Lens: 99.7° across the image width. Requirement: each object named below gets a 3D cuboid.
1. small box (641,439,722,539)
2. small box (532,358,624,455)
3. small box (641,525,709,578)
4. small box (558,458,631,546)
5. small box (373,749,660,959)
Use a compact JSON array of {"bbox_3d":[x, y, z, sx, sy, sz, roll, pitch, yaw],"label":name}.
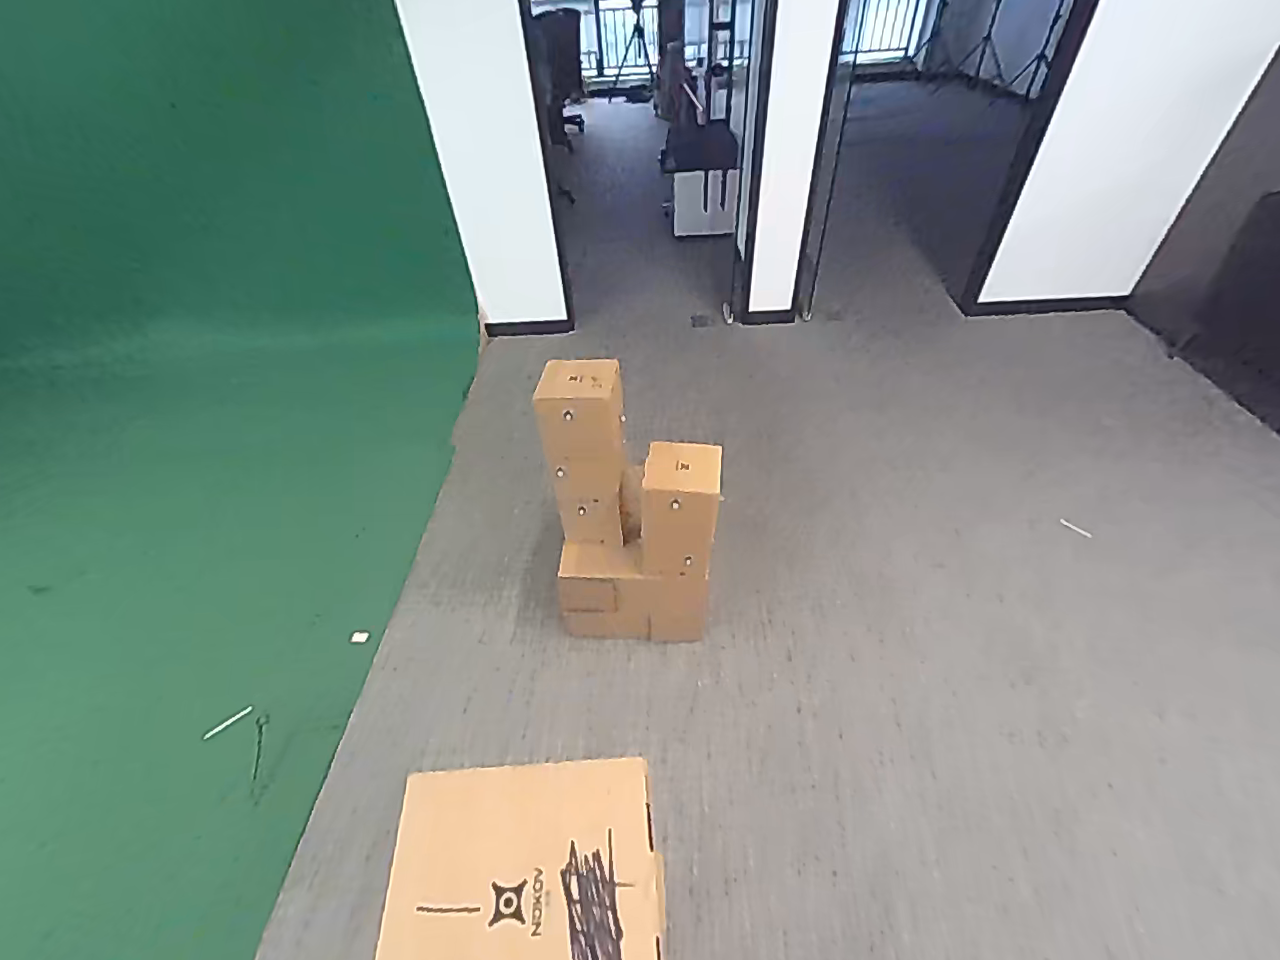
[{"bbox_3d":[0.100,0.024,1.295,0.179,0.176,0.168,4,44,7],"label":"small box"},{"bbox_3d":[-0.138,-0.172,1.275,0.179,0.176,0.168,1,43,6],"label":"small box"},{"bbox_3d":[0.097,0.136,1.414,0.168,0.176,0.179,4,43,6],"label":"small box"},{"bbox_3d":[-0.119,0.059,1.510,0.168,0.176,0.179,2,43,8],"label":"small box"},{"bbox_3d":[-0.079,0.318,0.411,0.179,0.176,0.168,-3,49,-3],"label":"small box"}]
